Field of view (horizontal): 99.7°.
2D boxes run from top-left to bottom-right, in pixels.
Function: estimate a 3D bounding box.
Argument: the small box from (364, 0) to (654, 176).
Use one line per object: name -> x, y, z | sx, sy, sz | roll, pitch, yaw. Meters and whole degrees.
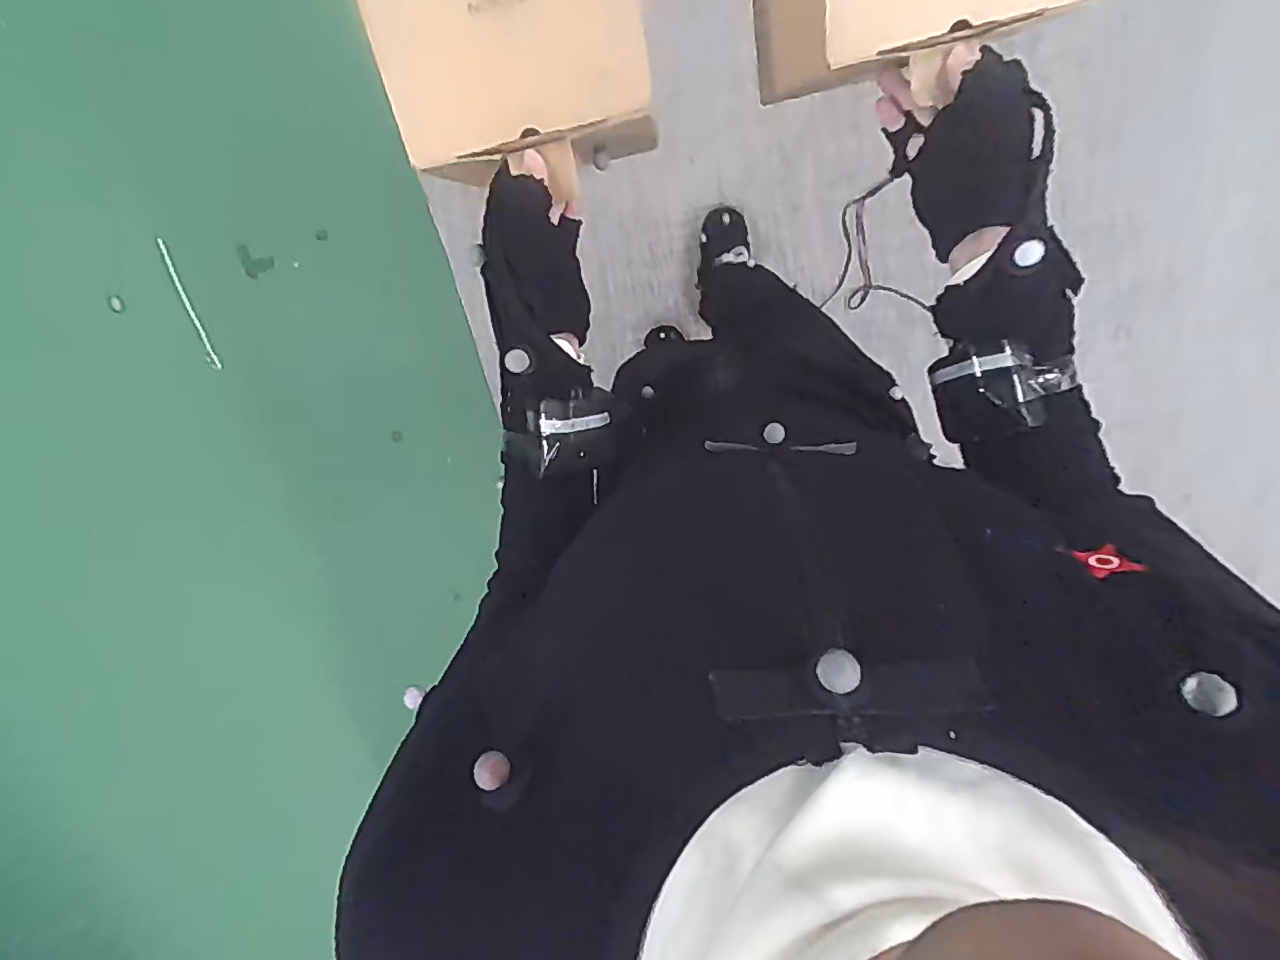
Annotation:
small box -> -0.084, -0.335, 0.391 | 0.168, 0.176, 0.179 | -11, 112, 6
